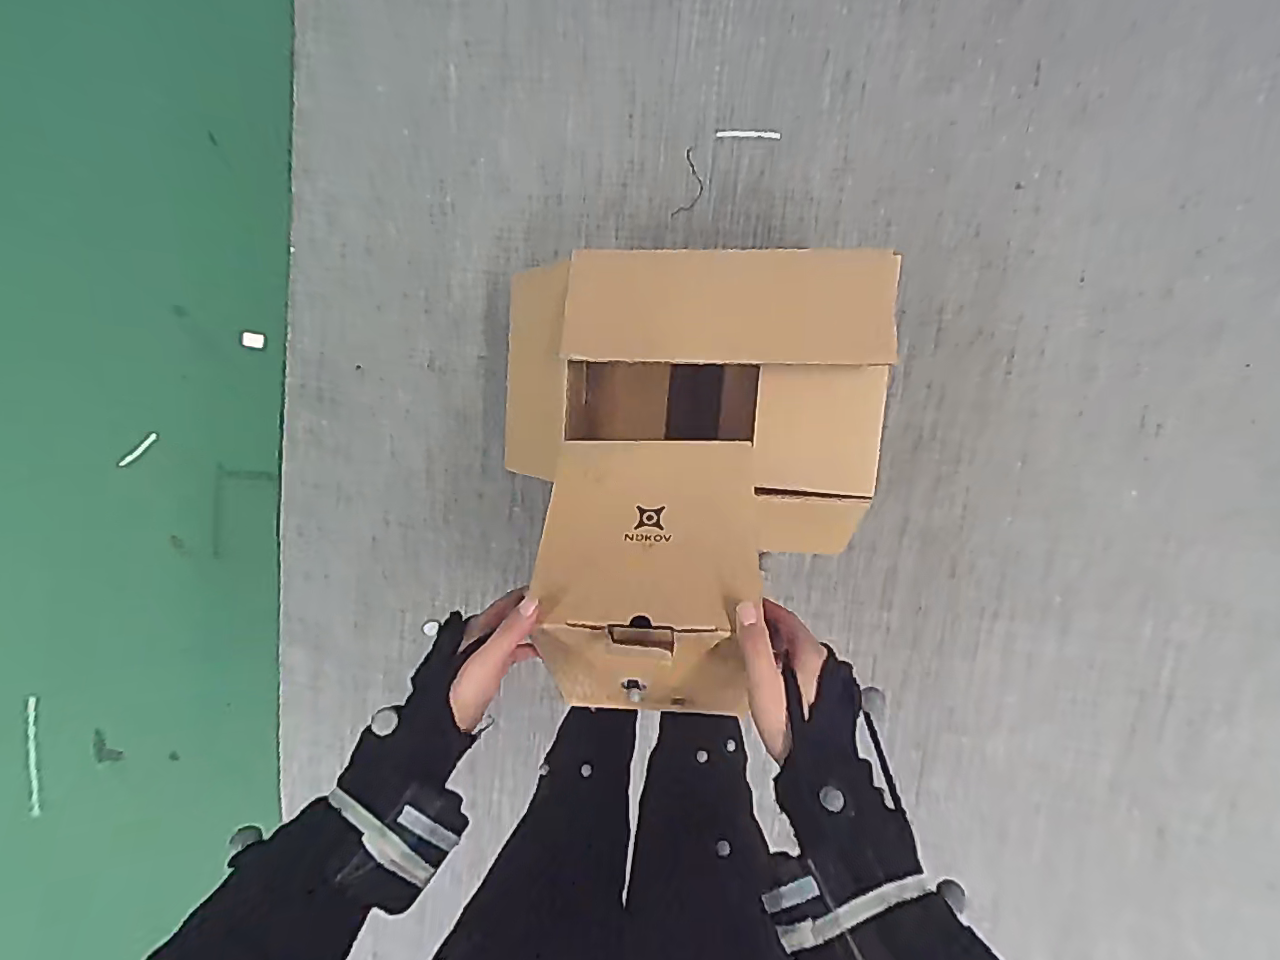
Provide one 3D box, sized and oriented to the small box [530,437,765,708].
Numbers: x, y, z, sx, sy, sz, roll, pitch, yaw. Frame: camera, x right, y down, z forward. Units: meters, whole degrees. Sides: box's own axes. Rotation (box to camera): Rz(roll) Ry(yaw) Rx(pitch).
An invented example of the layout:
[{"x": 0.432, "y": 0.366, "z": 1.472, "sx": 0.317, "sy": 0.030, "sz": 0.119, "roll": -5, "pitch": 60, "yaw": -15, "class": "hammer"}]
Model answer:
[{"x": 0.014, "y": 0.082, "z": 0.483, "sx": 0.168, "sy": 0.179, "sz": 0.176, "roll": 1, "pitch": 140, "yaw": 6, "class": "small box"}]
